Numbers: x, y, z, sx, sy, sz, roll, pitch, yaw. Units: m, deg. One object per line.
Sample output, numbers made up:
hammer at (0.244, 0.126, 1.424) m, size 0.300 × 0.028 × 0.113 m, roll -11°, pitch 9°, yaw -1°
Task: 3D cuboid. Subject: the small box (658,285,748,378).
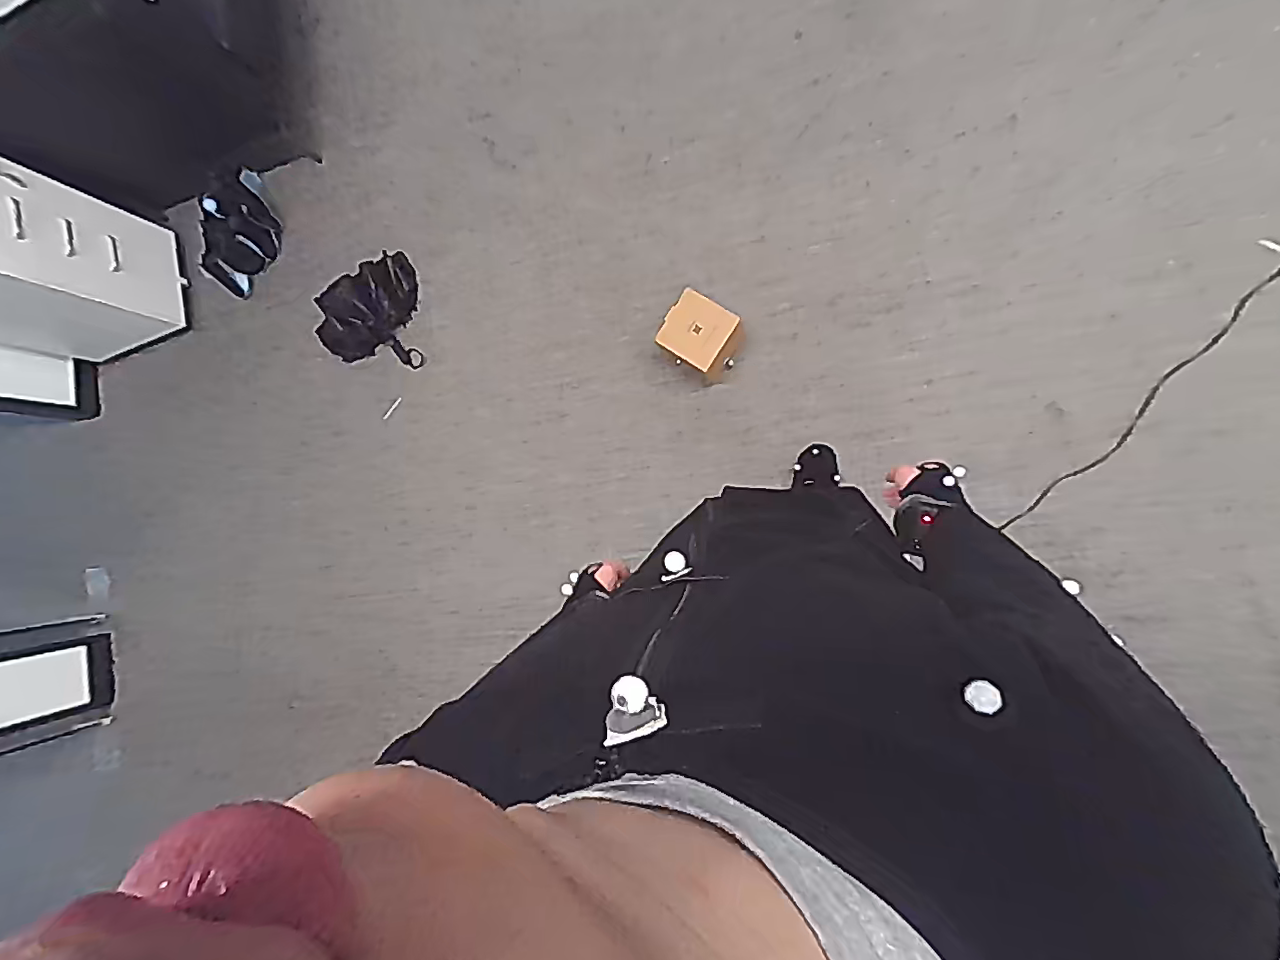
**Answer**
small box at (0.180, -0.402, 1.497) m, size 0.179 × 0.176 × 0.168 m, roll 35°, pitch 100°, yaw 14°
